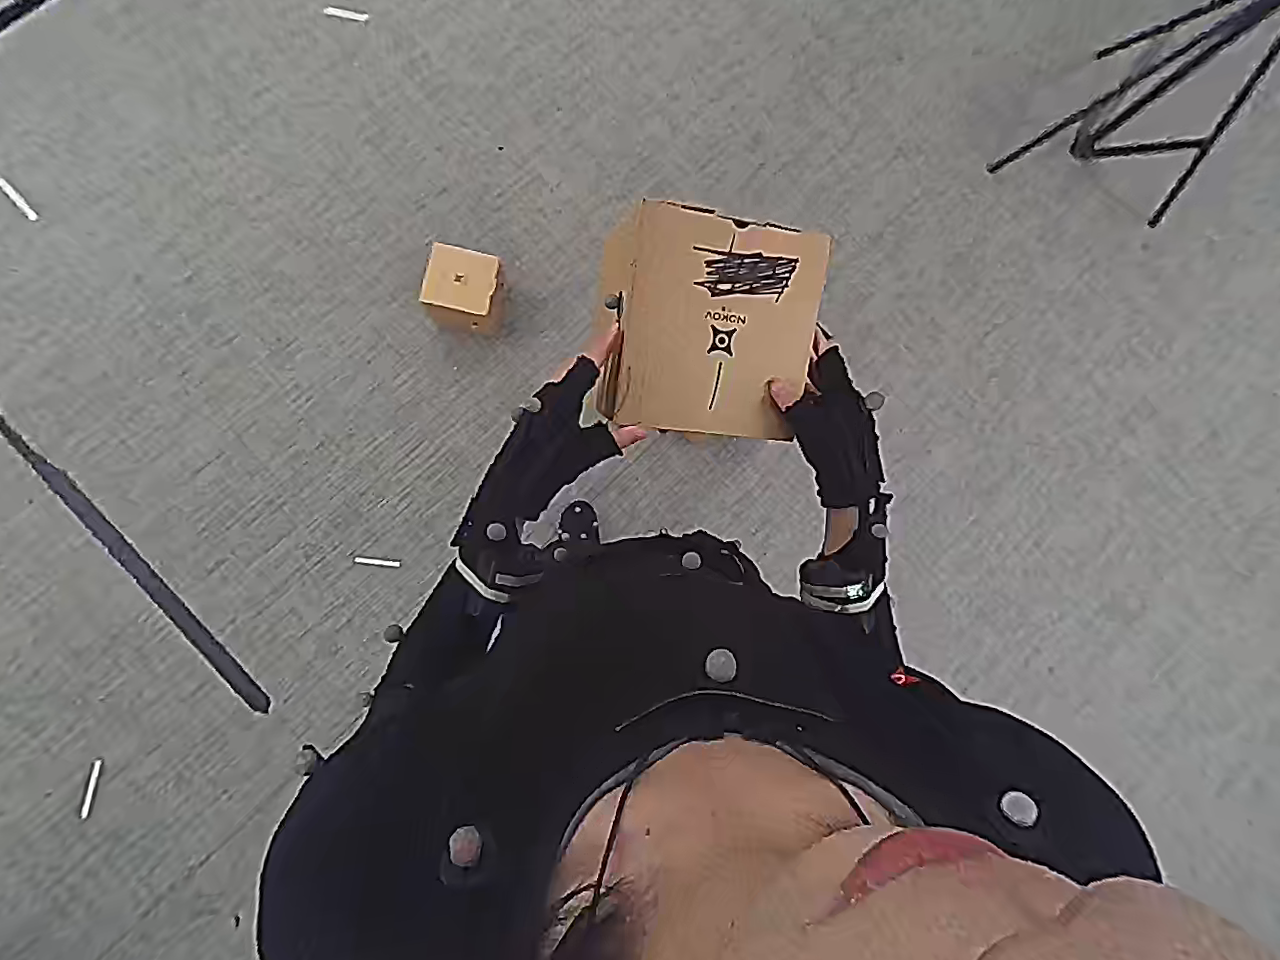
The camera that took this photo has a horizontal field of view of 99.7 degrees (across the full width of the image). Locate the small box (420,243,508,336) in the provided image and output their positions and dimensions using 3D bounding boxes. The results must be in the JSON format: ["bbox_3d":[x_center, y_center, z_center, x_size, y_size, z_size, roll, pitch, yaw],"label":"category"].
[{"bbox_3d":[-0.463,-0.503,1.455,0.179,0.176,0.168,11,83,-4],"label":"small box"}]

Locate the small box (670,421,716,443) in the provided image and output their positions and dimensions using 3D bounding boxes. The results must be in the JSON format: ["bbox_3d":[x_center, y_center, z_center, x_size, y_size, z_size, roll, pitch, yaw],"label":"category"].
[{"bbox_3d":[0.162,-0.221,1.493,0.168,0.176,0.179,40,83,-2],"label":"small box"}]

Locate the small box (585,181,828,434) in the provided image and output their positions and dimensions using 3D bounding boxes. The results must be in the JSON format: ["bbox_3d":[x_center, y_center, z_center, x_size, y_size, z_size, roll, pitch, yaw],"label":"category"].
[{"bbox_3d":[0.045,-0.148,0.508,0.168,0.176,0.179,4,103,-15],"label":"small box"}]
